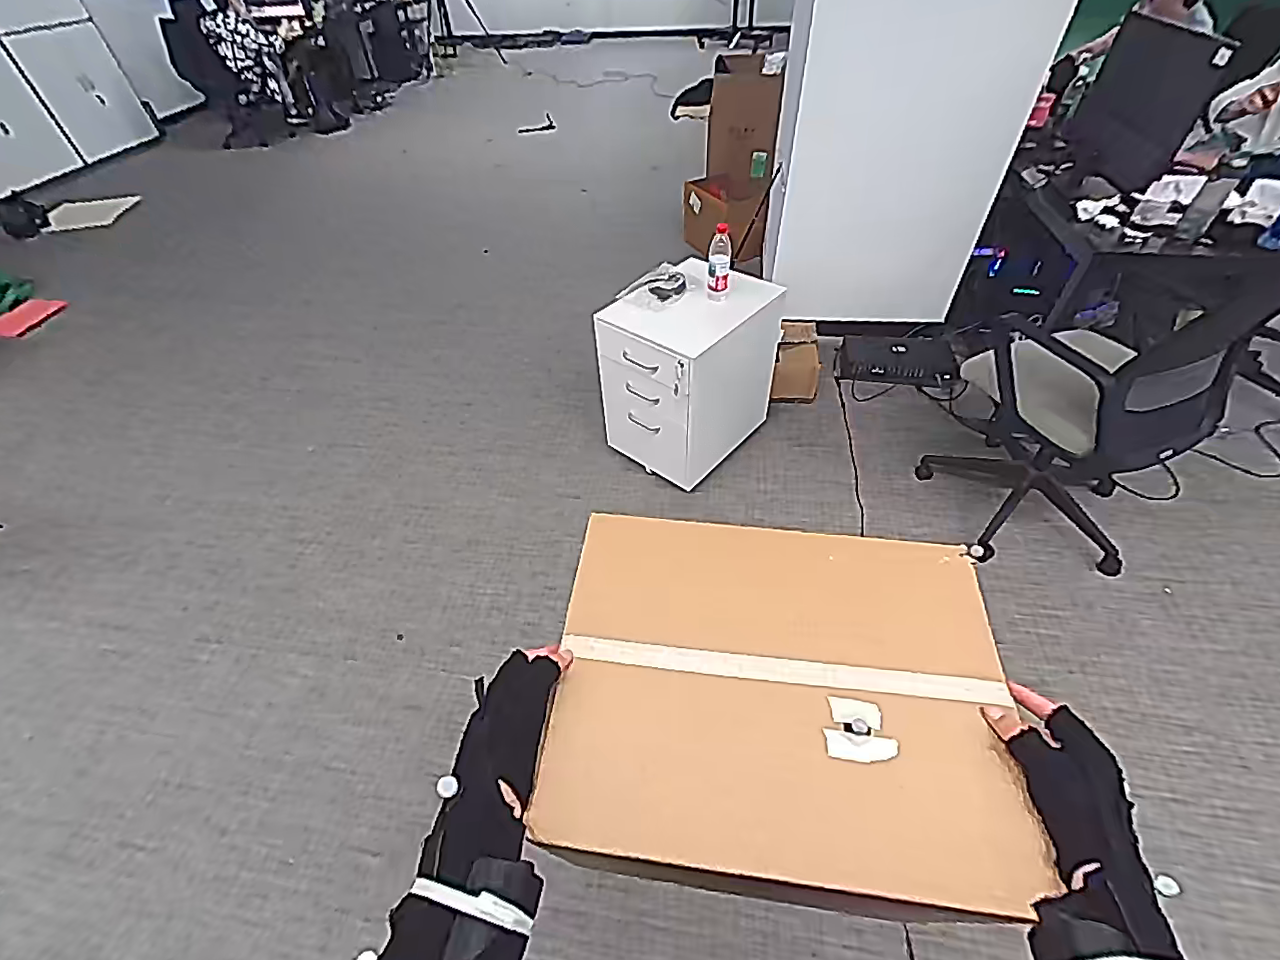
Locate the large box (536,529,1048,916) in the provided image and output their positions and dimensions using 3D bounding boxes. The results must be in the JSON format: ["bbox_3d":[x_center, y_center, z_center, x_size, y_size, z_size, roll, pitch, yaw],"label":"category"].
[{"bbox_3d":[0.130,0.281,0.627,0.408,0.320,0.320,5,52,6],"label":"large box"}]
